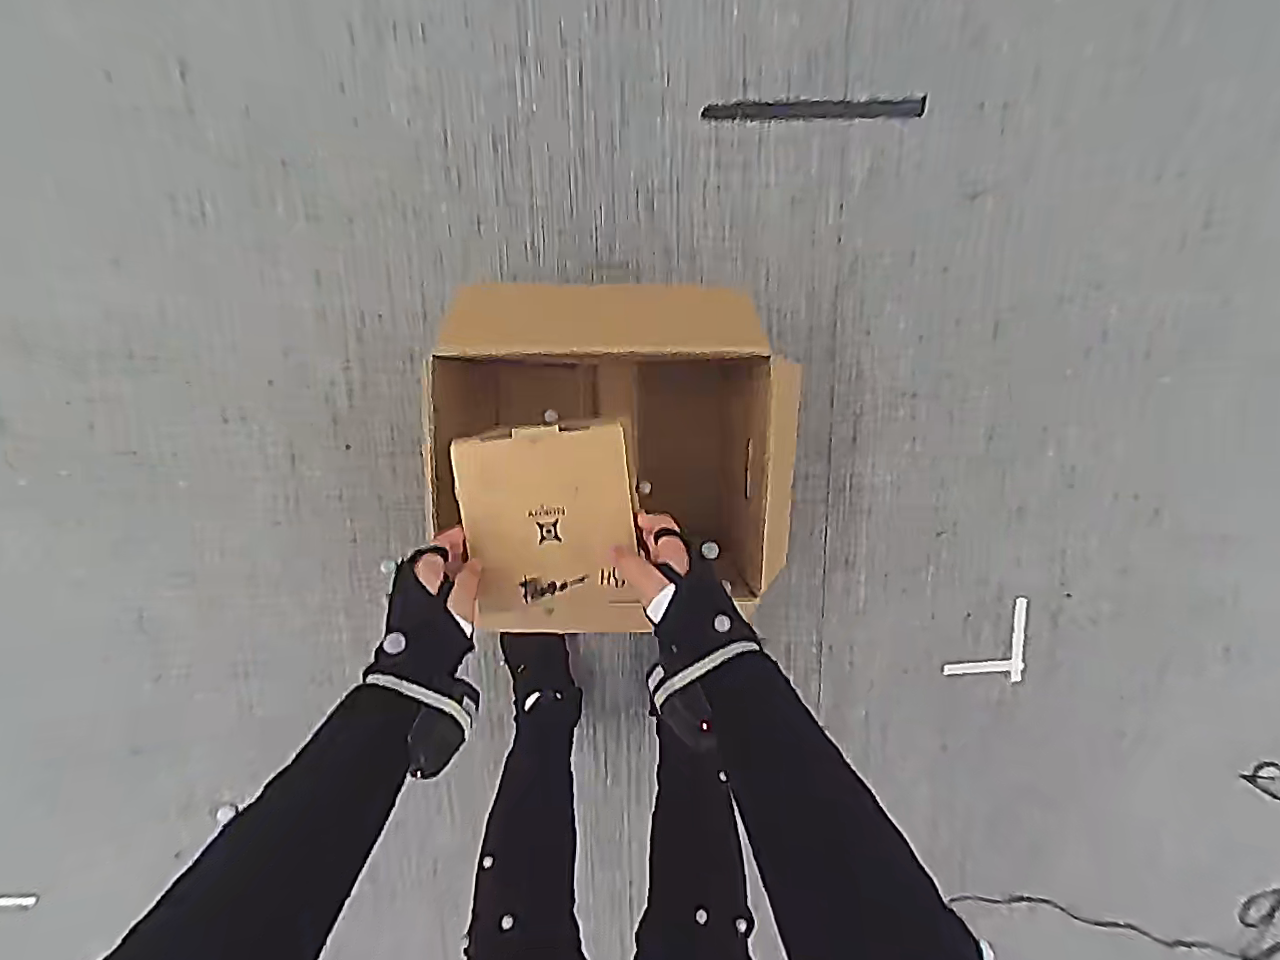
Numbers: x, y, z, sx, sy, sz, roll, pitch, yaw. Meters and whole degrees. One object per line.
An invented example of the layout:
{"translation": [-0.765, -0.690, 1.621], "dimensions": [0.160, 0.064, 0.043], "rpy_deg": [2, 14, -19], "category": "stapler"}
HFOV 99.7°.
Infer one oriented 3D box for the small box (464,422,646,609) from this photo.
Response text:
{"translation": [-0.083, 0.028, 0.616], "dimensions": [0.168, 0.176, 0.179], "rpy_deg": [-6, 100, 2], "category": "small box"}
